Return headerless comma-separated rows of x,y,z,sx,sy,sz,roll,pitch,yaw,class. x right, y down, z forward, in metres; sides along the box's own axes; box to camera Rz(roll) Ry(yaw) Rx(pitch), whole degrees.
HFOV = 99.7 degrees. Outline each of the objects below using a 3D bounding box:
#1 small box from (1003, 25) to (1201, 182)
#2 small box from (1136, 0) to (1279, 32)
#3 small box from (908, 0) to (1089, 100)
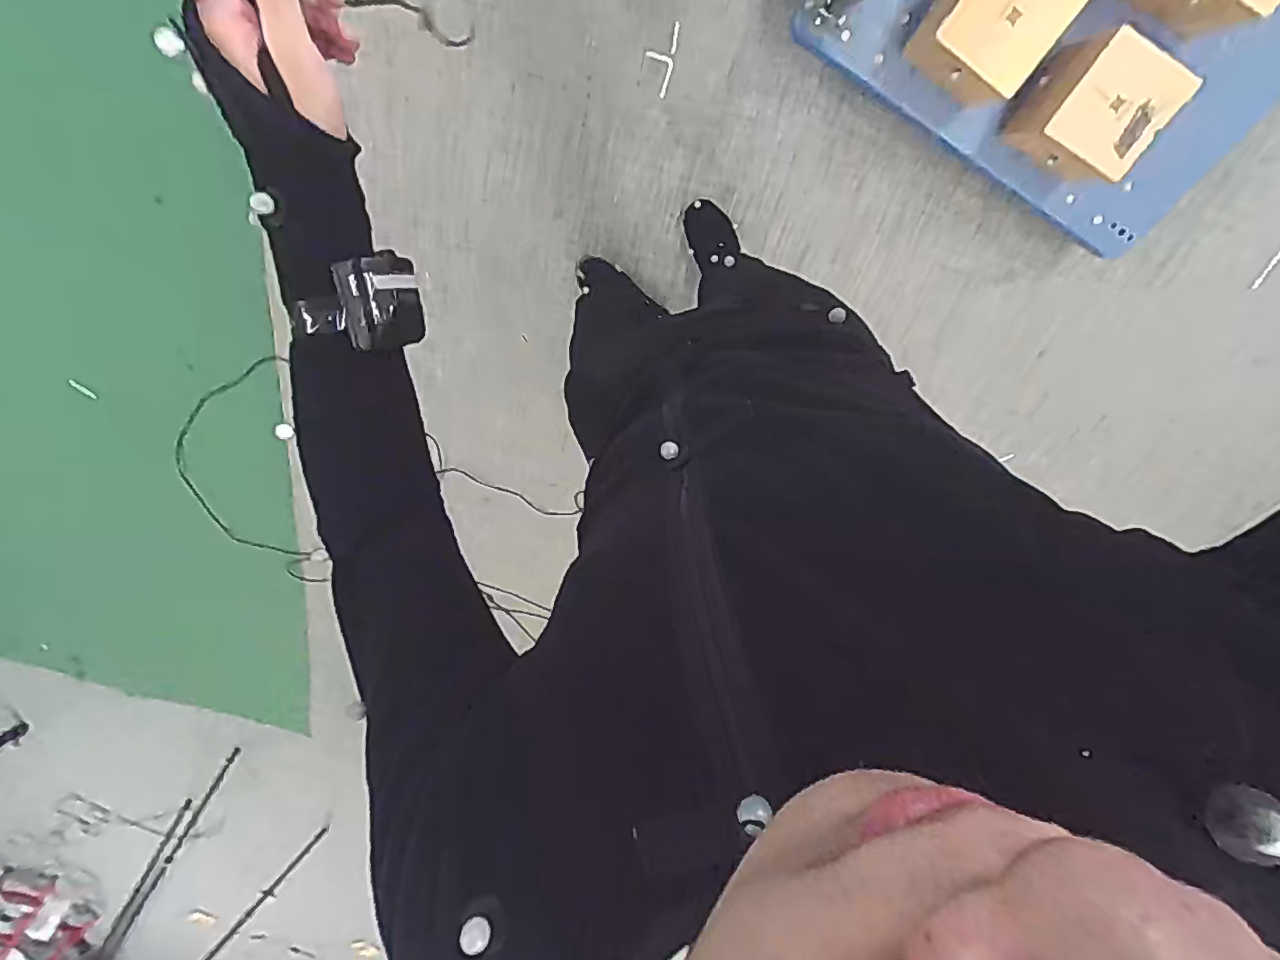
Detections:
0.819,-0.670,0.980,0.179,0.176,0.168,27,119,-9,small box
0.942,-0.856,0.858,0.179,0.176,0.168,25,120,-8,small box
0.608,-0.793,0.936,0.179,0.176,0.168,30,119,-10,small box
